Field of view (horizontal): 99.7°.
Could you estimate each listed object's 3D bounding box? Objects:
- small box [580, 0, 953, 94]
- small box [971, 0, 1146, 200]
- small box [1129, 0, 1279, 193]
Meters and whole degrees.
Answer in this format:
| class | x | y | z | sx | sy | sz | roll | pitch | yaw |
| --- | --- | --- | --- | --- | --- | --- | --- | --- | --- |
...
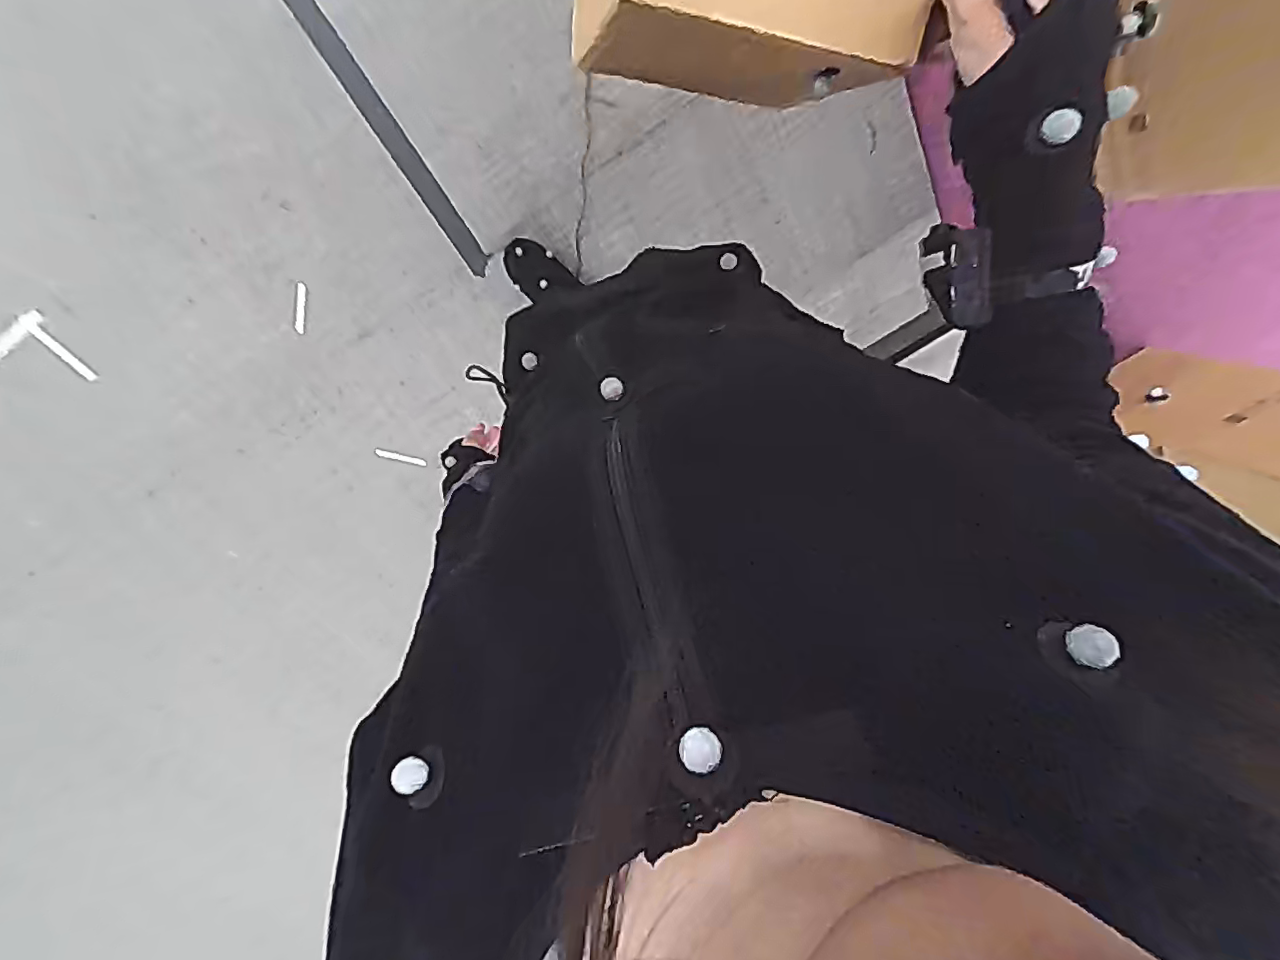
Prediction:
| class | x | y | z | sx | sy | sz | roll | pitch | yaw |
| --- | --- | --- | --- | --- | --- | --- | --- | --- | --- |
| small box | 0.067 | -0.338 | 0.302 | 0.179 | 0.176 | 0.168 | -1 | 118 | -18 |
| small box | 0.450 | -0.386 | 0.501 | 0.168 | 0.176 | 0.179 | -30 | 116 | 5 |
| small box | 0.471 | -0.313 | 0.354 | 0.179 | 0.176 | 0.168 | -30 | 115 | 4 |
